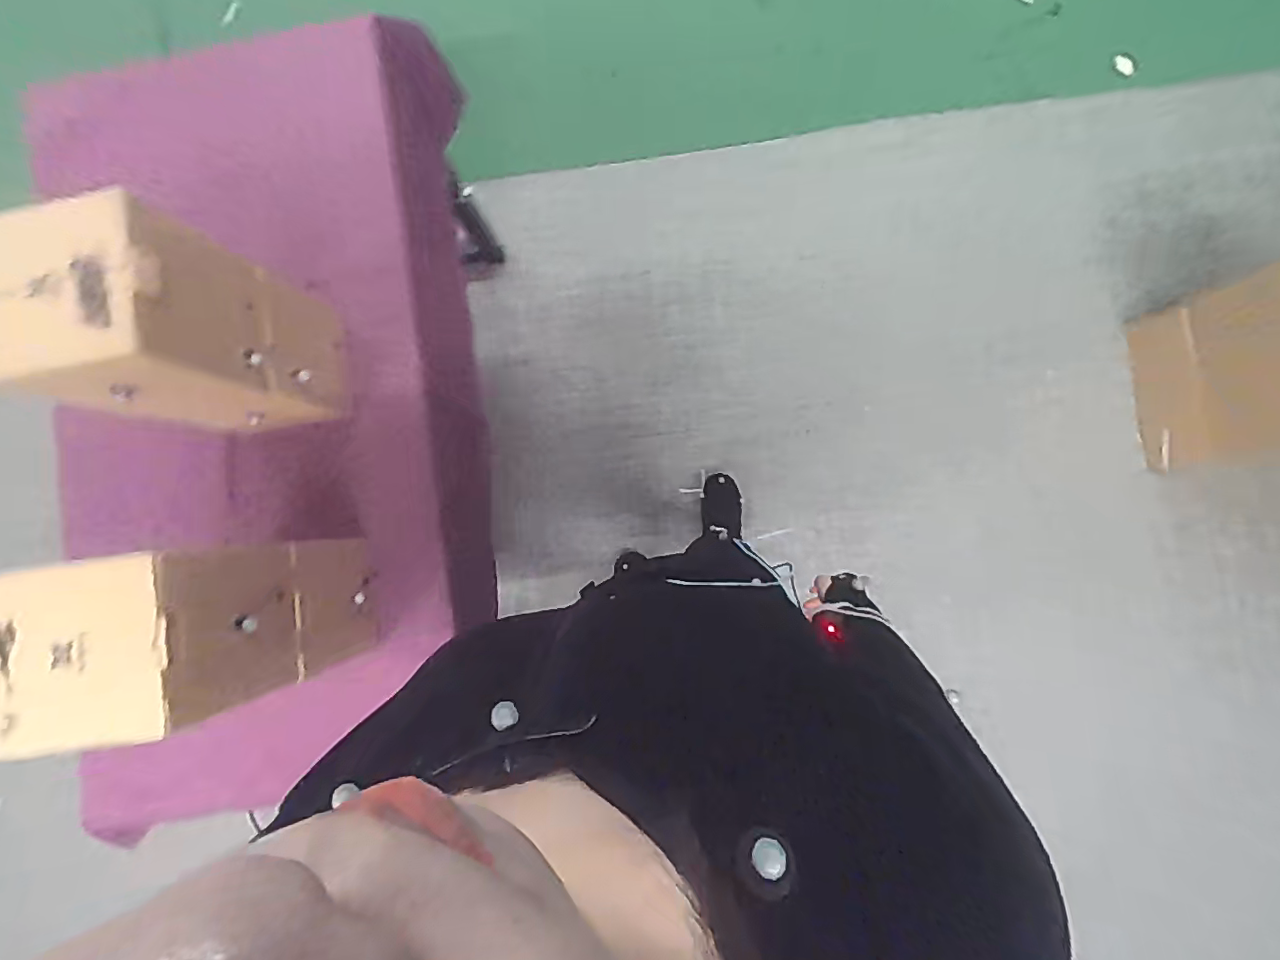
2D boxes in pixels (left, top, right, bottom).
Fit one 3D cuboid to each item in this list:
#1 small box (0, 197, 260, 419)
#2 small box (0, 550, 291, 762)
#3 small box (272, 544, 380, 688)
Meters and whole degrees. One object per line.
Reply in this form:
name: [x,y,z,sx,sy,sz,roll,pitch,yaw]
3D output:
small box: [-0.558,-0.173,0.597,0.179,0.176,0.168,-10,85,4]
small box: [-0.498,0.167,0.565,0.179,0.176,0.168,-8,84,3]
small box: [-0.483,0.180,0.729,0.179,0.176,0.168,-9,85,3]
